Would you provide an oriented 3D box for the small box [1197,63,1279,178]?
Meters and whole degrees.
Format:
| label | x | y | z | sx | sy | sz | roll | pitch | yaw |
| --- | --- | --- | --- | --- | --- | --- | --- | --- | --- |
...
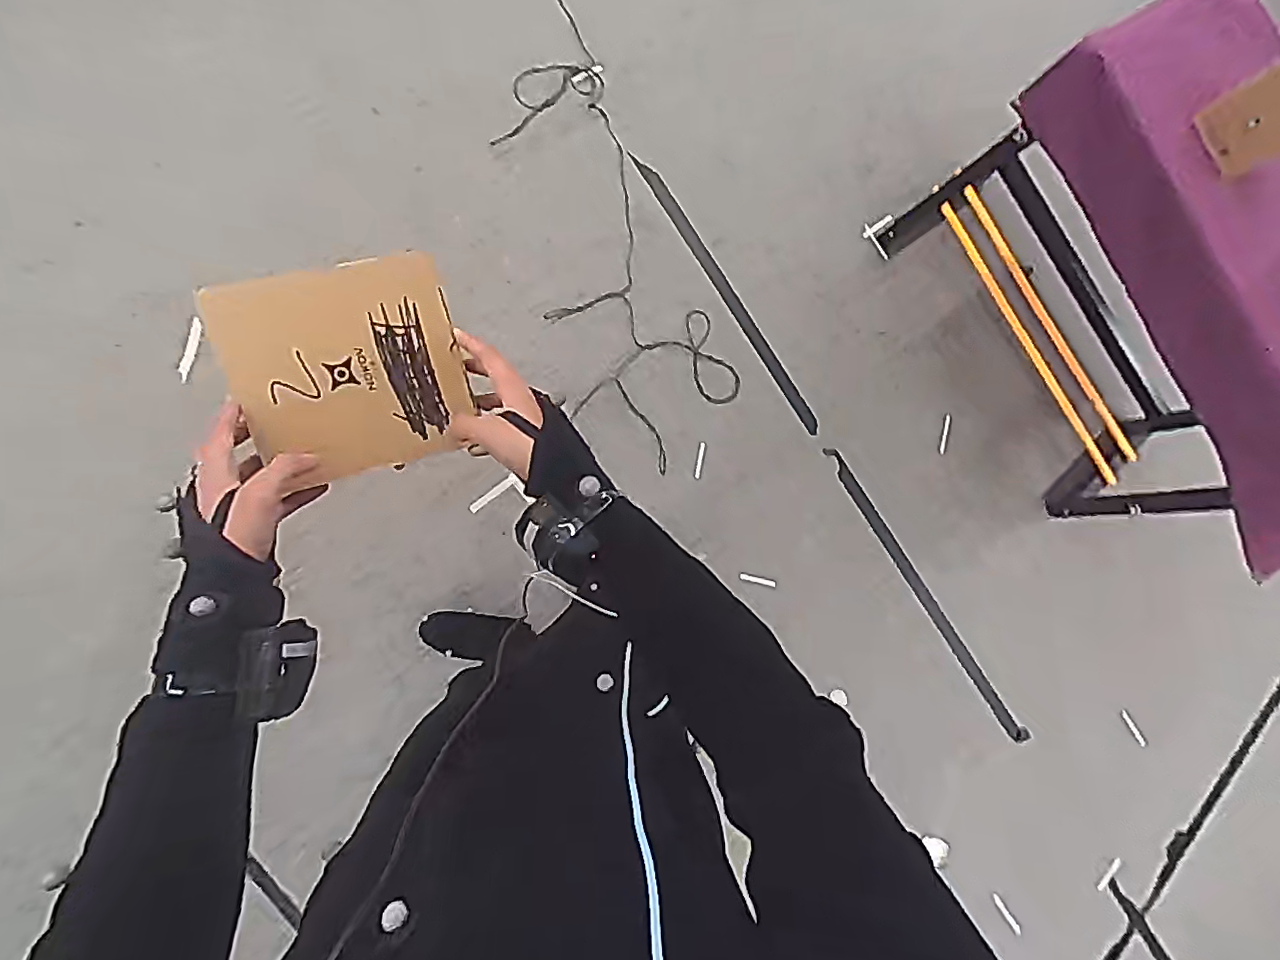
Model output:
| label | x | y | z | sx | sy | sz | roll | pitch | yaw |
| --- | --- | --- | --- | --- | --- | --- | --- | --- | --- |
| small box | 1.360 | -0.791 | 1.158 | 0.179 | 0.176 | 0.168 | -33 | 94 | -16 |
